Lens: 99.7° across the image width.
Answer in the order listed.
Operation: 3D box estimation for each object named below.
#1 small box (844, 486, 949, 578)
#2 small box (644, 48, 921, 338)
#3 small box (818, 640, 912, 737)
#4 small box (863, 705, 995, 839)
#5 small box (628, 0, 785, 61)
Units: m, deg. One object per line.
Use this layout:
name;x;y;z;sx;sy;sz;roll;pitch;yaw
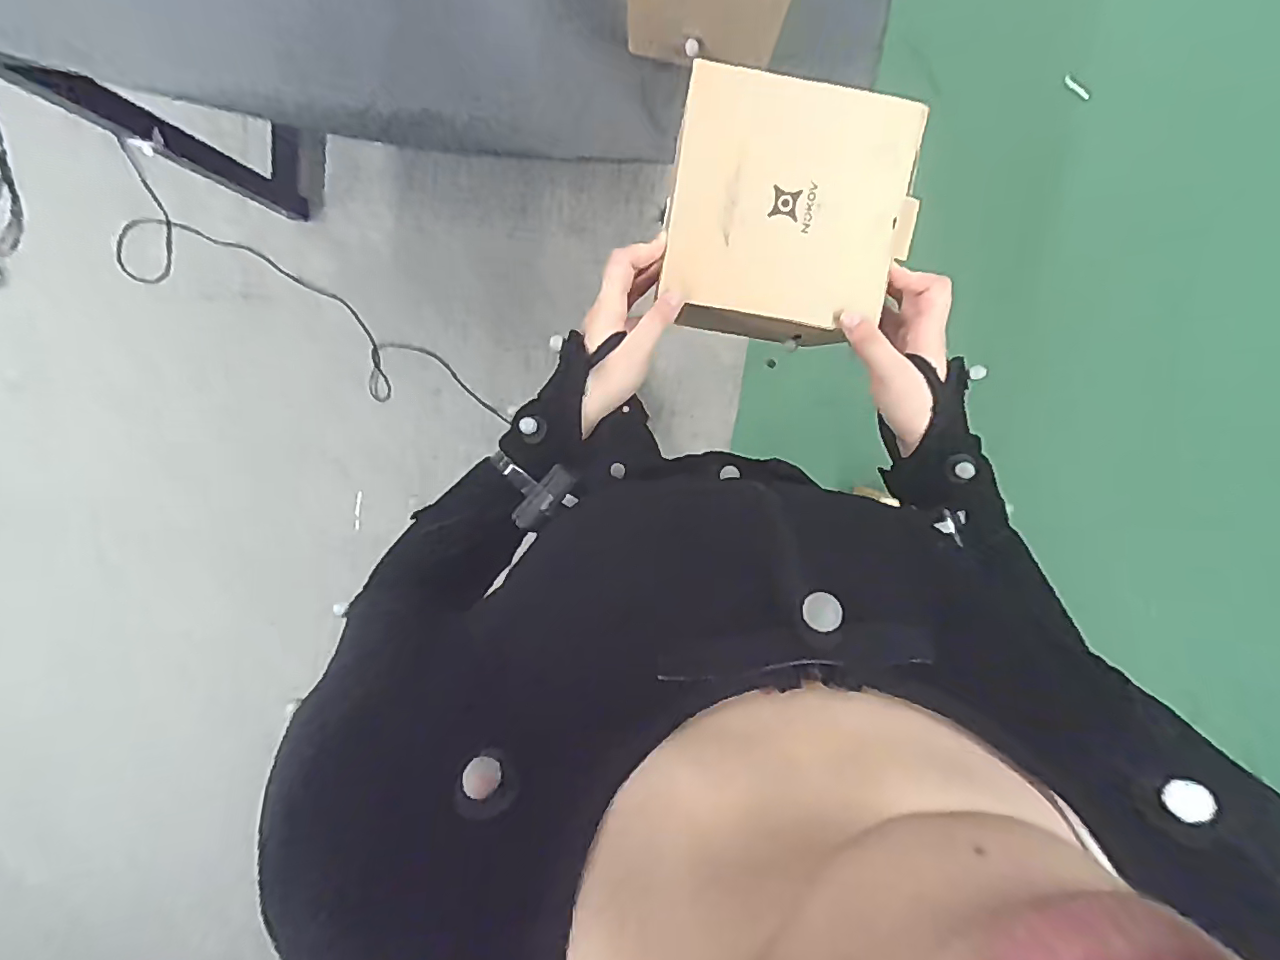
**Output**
small box;0.647;0.128;1.390;0.168;0.176;0.179;14;99;-1
small box;0.101;-0.221;0.468;0.179;0.176;0.168;8;100;-1
small box;0.598;0.562;1.460;0.168;0.176;0.179;12;99;0
small box;0.594;0.601;1.134;0.168;0.176;0.179;11;98;-1
small box;0.081;-0.568;0.552;0.168;0.176;0.179;13;97;0
